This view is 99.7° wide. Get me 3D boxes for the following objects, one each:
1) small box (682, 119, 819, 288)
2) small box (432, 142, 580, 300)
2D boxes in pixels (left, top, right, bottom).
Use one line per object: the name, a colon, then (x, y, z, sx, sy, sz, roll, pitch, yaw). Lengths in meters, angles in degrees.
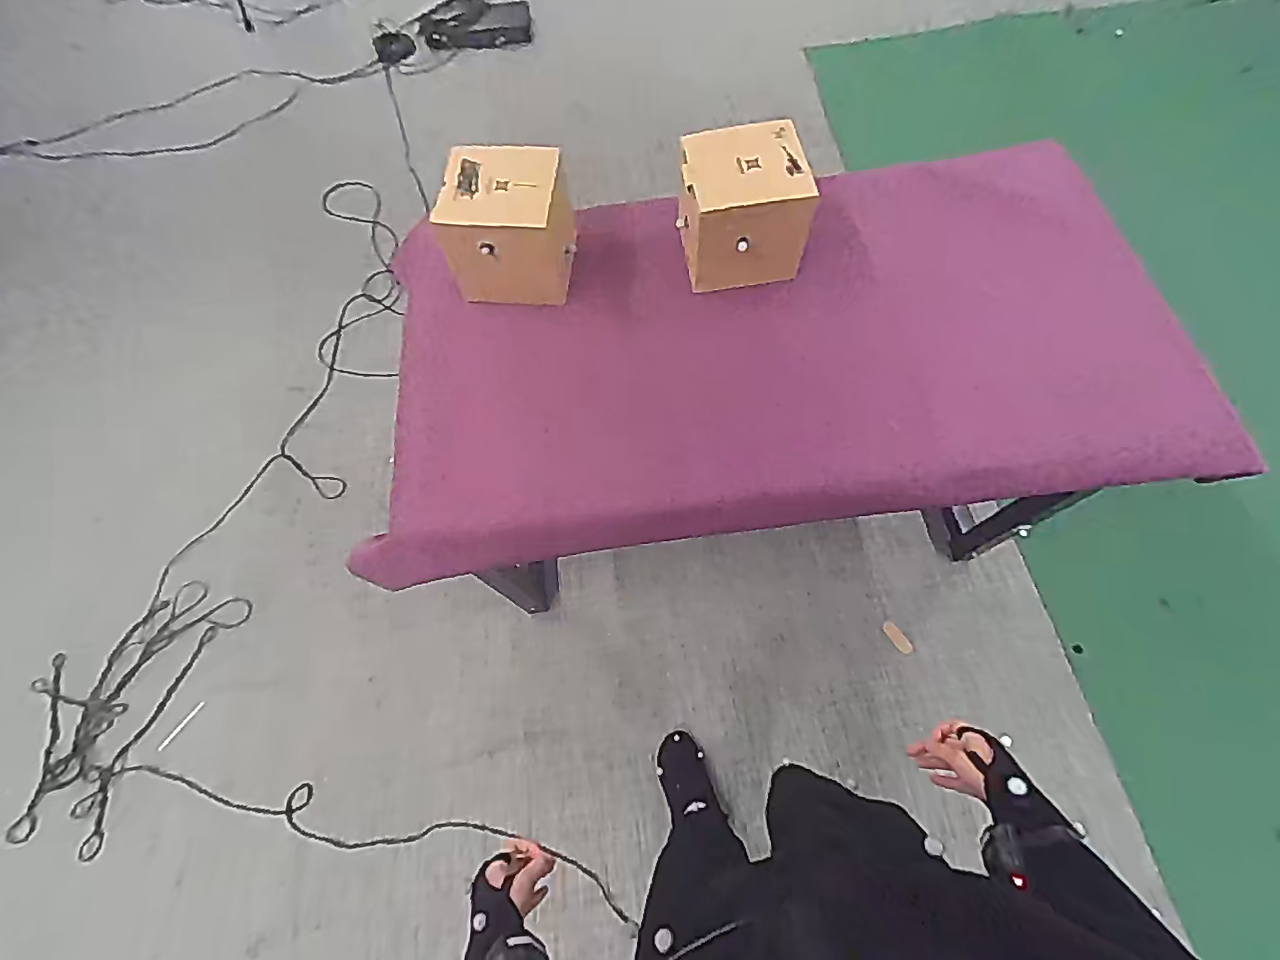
small box: (0.165, -0.432, 0.866, 0.179, 0.176, 0.168, -8, 68, 1)
small box: (-0.204, -0.412, 0.876, 0.179, 0.176, 0.168, 4, 68, 4)
